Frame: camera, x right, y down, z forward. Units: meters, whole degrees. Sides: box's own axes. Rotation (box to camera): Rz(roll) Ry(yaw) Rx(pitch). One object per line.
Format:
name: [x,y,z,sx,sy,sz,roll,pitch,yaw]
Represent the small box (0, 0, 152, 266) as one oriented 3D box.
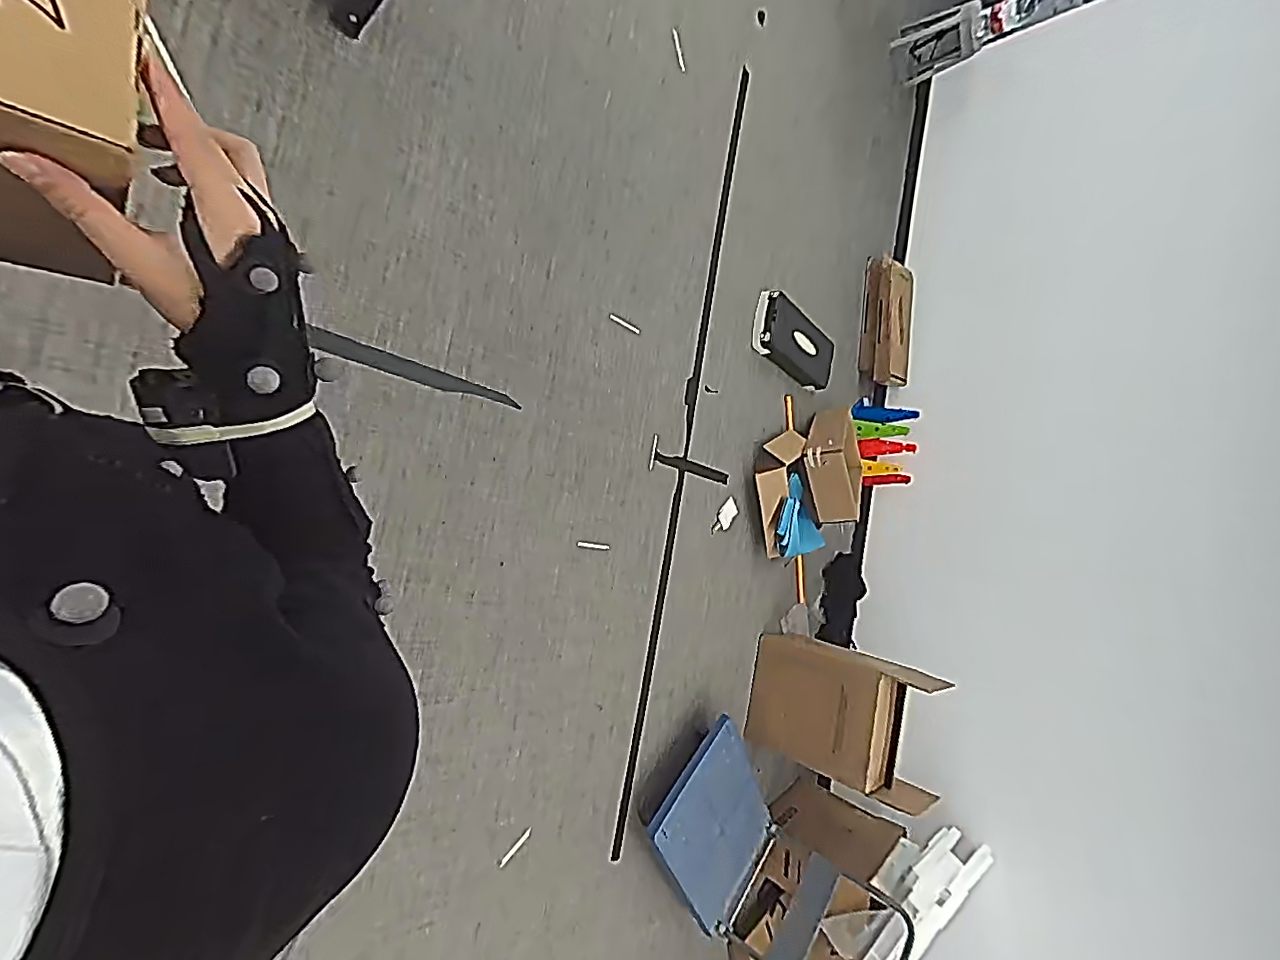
small box: [-0.351,-0.226,0.252,0.179,0.176,0.168,4,81,-47]
